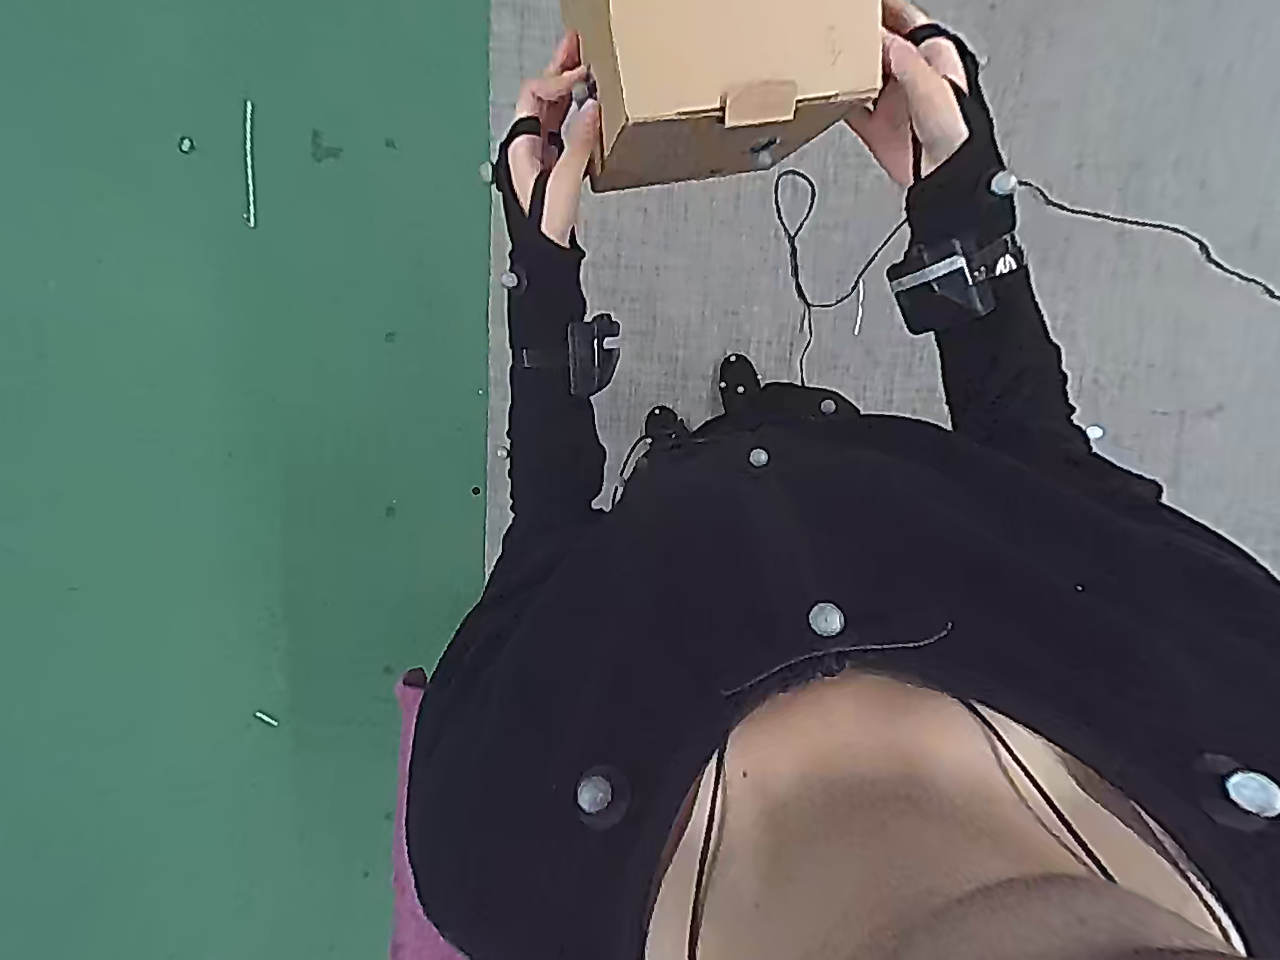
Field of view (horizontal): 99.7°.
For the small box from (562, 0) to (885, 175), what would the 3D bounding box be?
[{"bbox_3d":[0.040,-0.324,0.364,0.168,0.176,0.179,-12,106,-9],"label":"small box"}]
